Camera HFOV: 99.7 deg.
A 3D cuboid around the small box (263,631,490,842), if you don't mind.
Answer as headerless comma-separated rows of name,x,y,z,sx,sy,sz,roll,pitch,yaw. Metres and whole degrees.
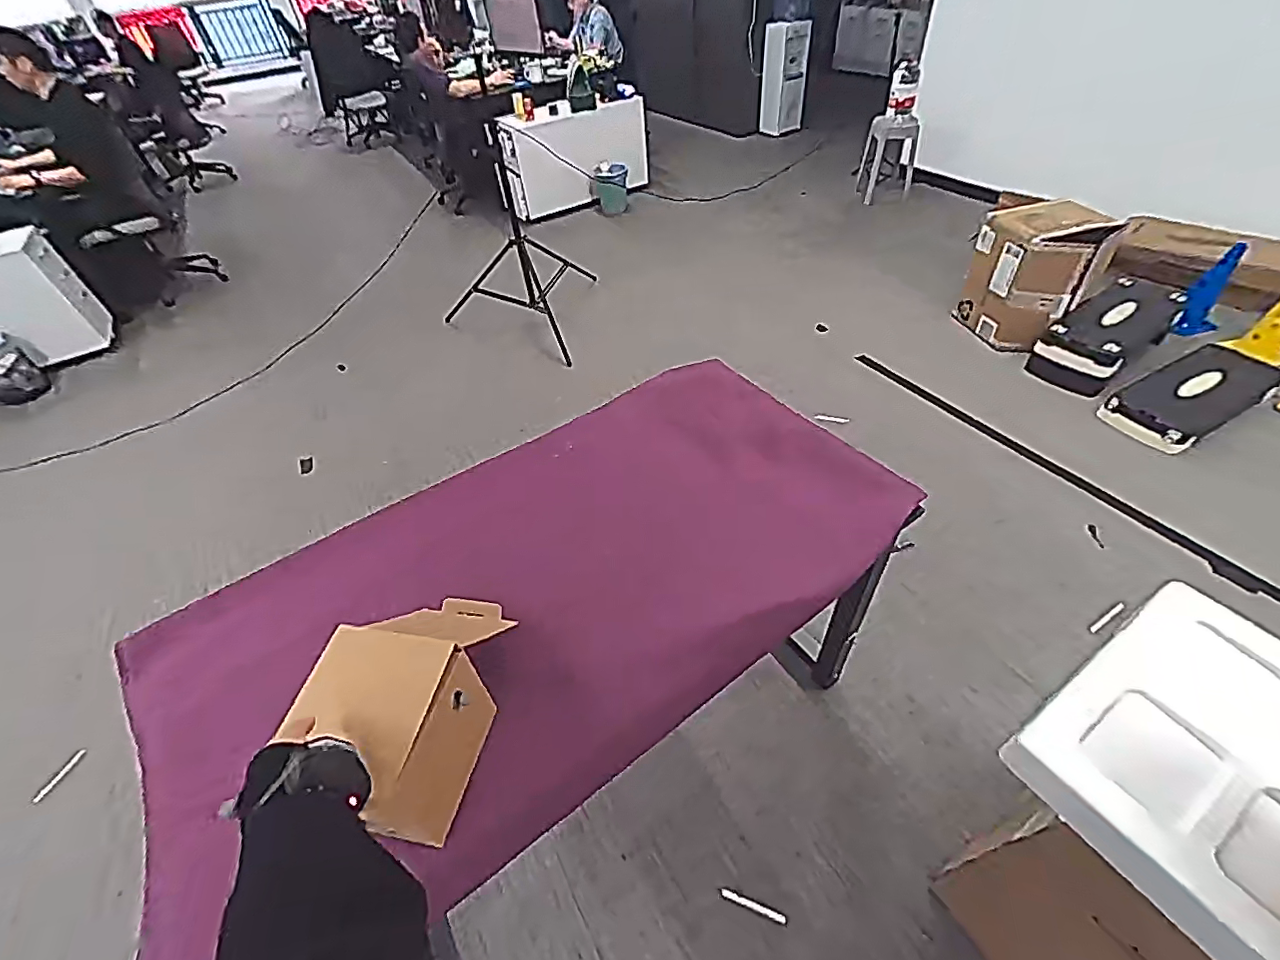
small box,-0.308,0.321,0.681,0.168,0.176,0.179,4,44,12
